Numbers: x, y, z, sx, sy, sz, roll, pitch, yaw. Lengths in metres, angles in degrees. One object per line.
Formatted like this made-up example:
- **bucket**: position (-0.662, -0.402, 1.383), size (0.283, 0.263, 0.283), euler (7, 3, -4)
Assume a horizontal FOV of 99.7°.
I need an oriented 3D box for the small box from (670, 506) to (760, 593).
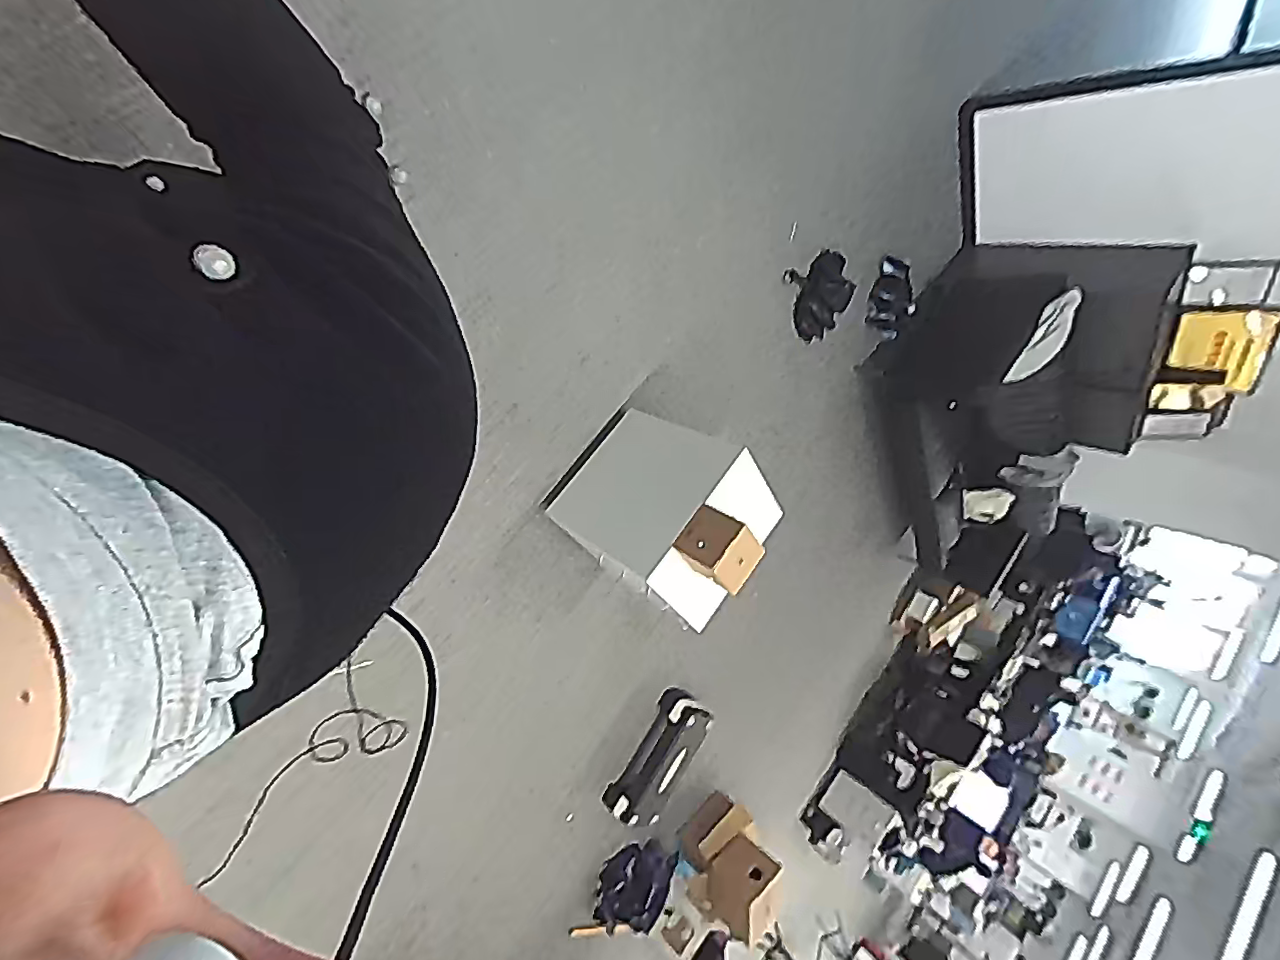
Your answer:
- **small box**: position (0.217, 0.197, 1.580), size (0.168, 0.176, 0.179), euler (-52, 137, -11)
